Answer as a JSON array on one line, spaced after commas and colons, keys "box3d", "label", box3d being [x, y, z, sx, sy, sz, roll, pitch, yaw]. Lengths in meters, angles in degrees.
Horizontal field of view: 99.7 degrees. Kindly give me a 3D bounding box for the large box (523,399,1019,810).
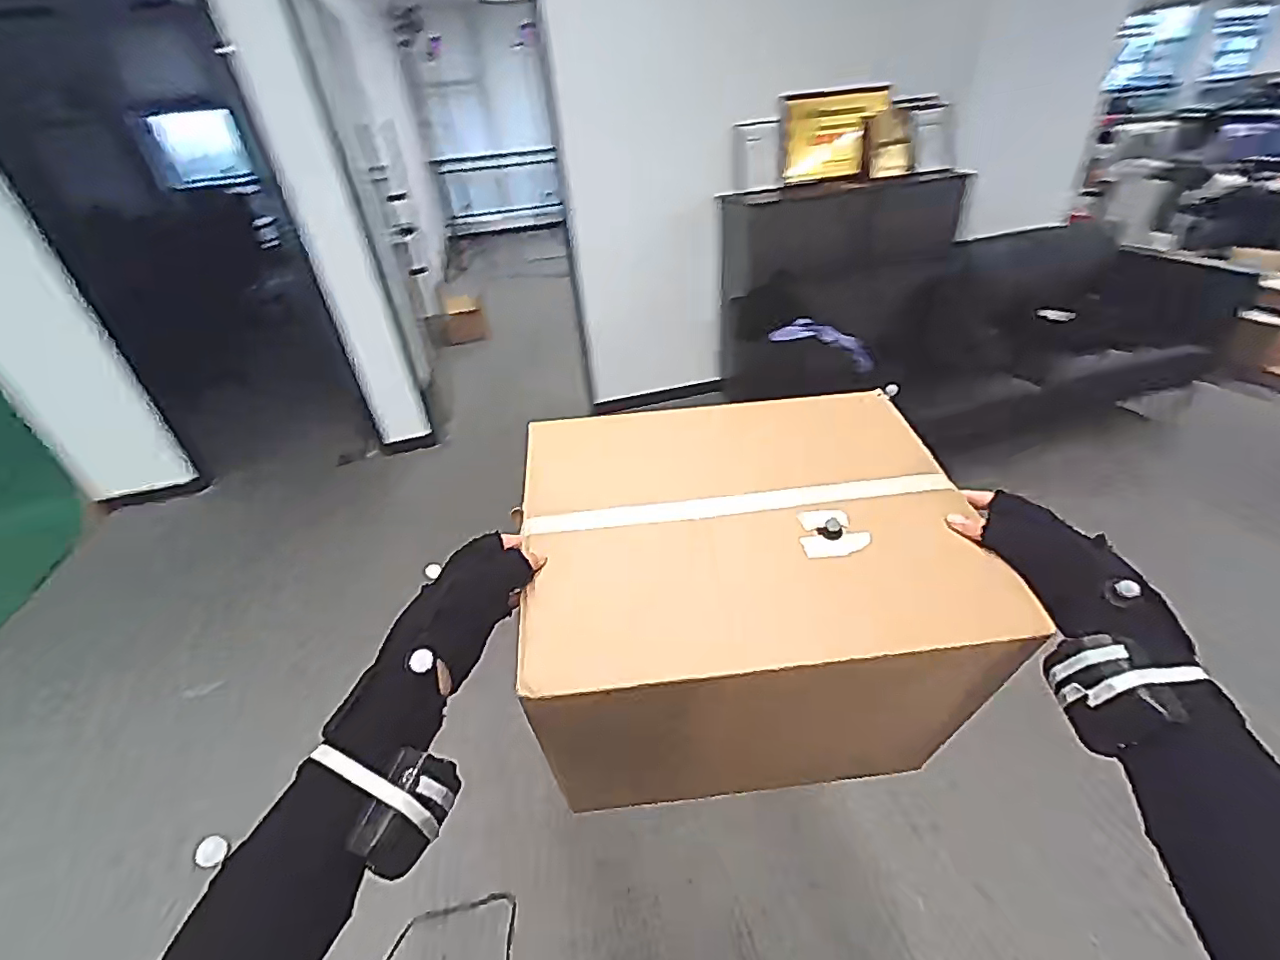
[{"box3d": [0.091, 0.137, 0.622, 0.408, 0.320, 0.320, -6, 45, -4], "label": "large box"}]
